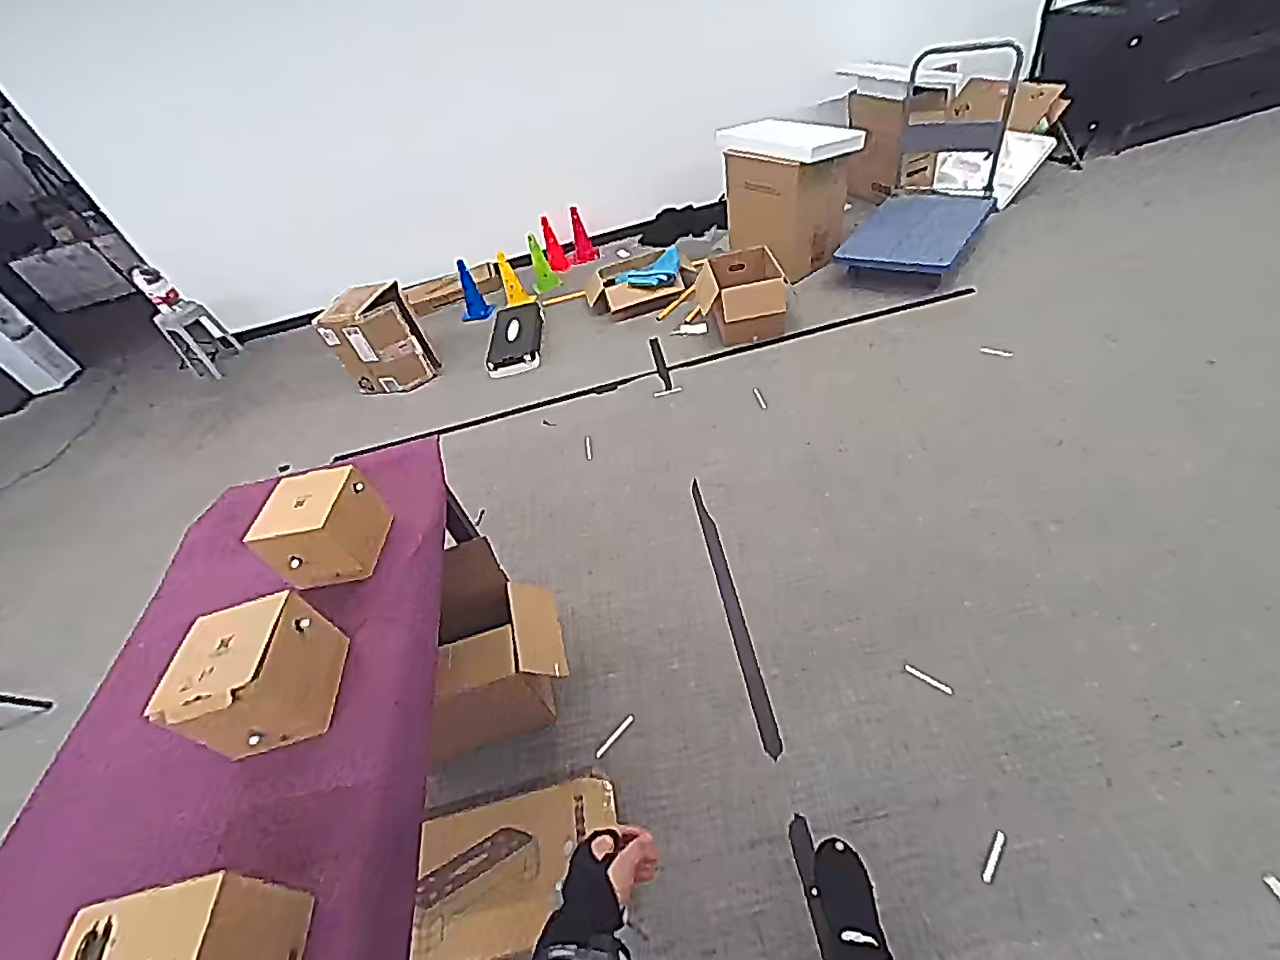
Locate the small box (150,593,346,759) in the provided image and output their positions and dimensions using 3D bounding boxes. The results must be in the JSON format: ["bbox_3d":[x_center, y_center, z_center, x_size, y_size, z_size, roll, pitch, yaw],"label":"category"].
[{"bbox_3d":[-0.614,0.318,0.878,0.168,0.176,0.179,-18,43,2],"label":"small box"}]

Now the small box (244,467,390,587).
[{"bbox_3d":[-0.647,0.104,1.112,0.168,0.176,0.179,-11,43,6],"label":"small box"}]
